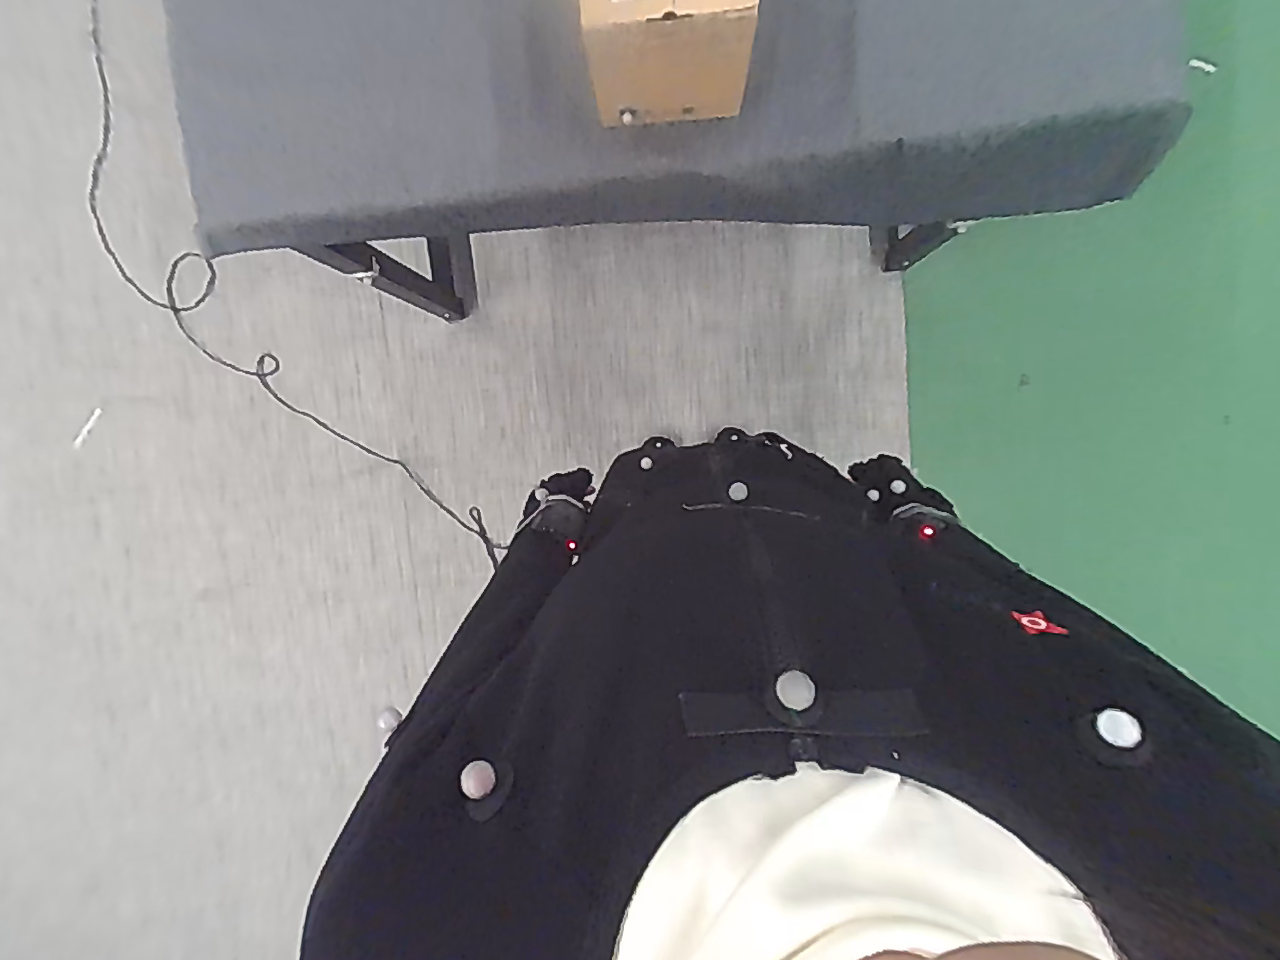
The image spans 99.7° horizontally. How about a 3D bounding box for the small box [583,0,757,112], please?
[{"bbox_3d":[0.031,-0.523,0.574,0.168,0.176,0.179,-2,95,3],"label":"small box"}]
